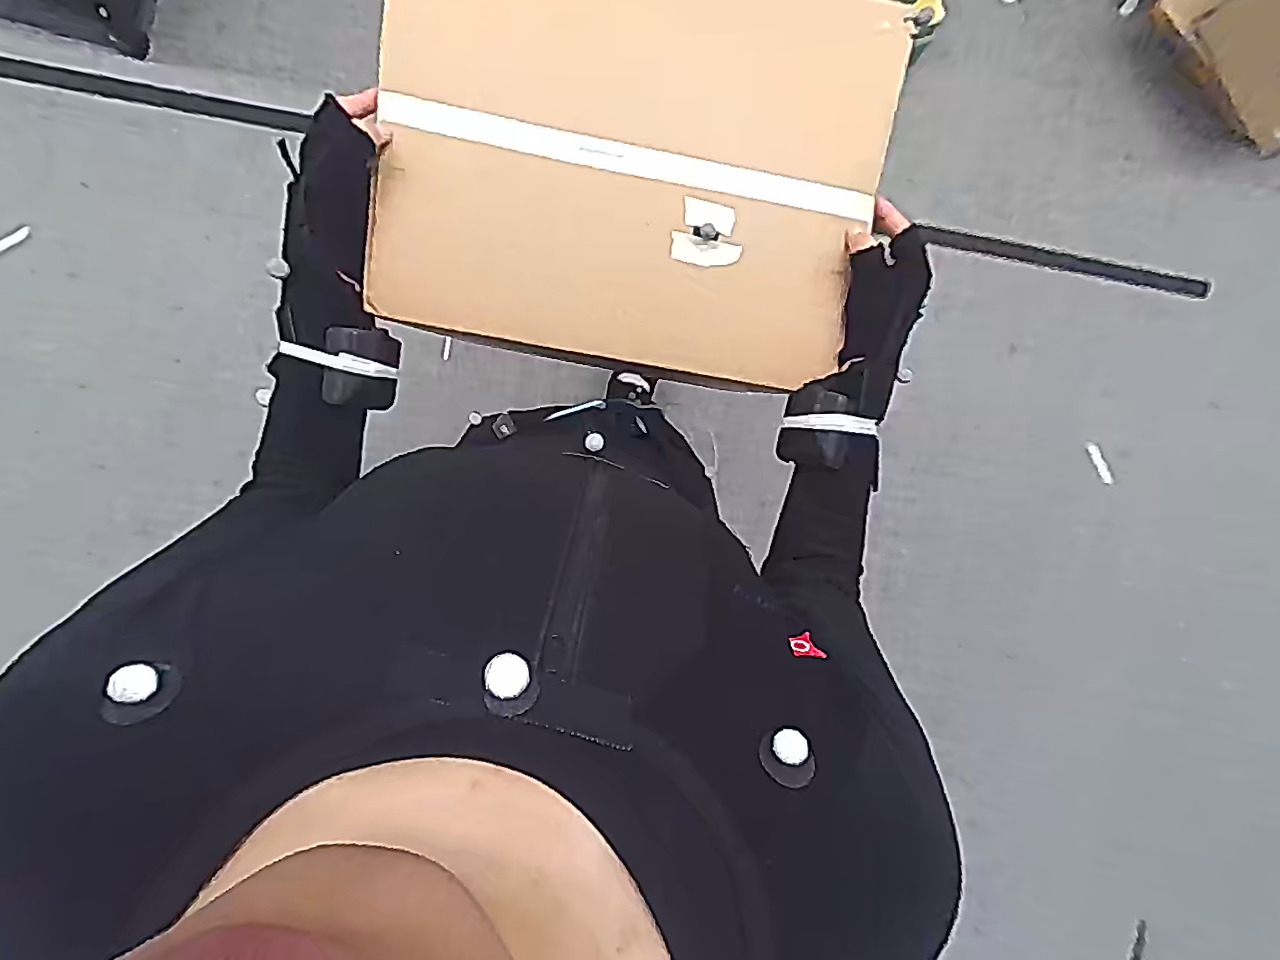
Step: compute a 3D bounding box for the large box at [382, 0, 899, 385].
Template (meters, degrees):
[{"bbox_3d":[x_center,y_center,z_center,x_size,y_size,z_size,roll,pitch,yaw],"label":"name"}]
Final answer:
[{"bbox_3d":[-0.015,-0.289,0.597,0.408,0.320,0.320,9,100,-6],"label":"large box"}]
